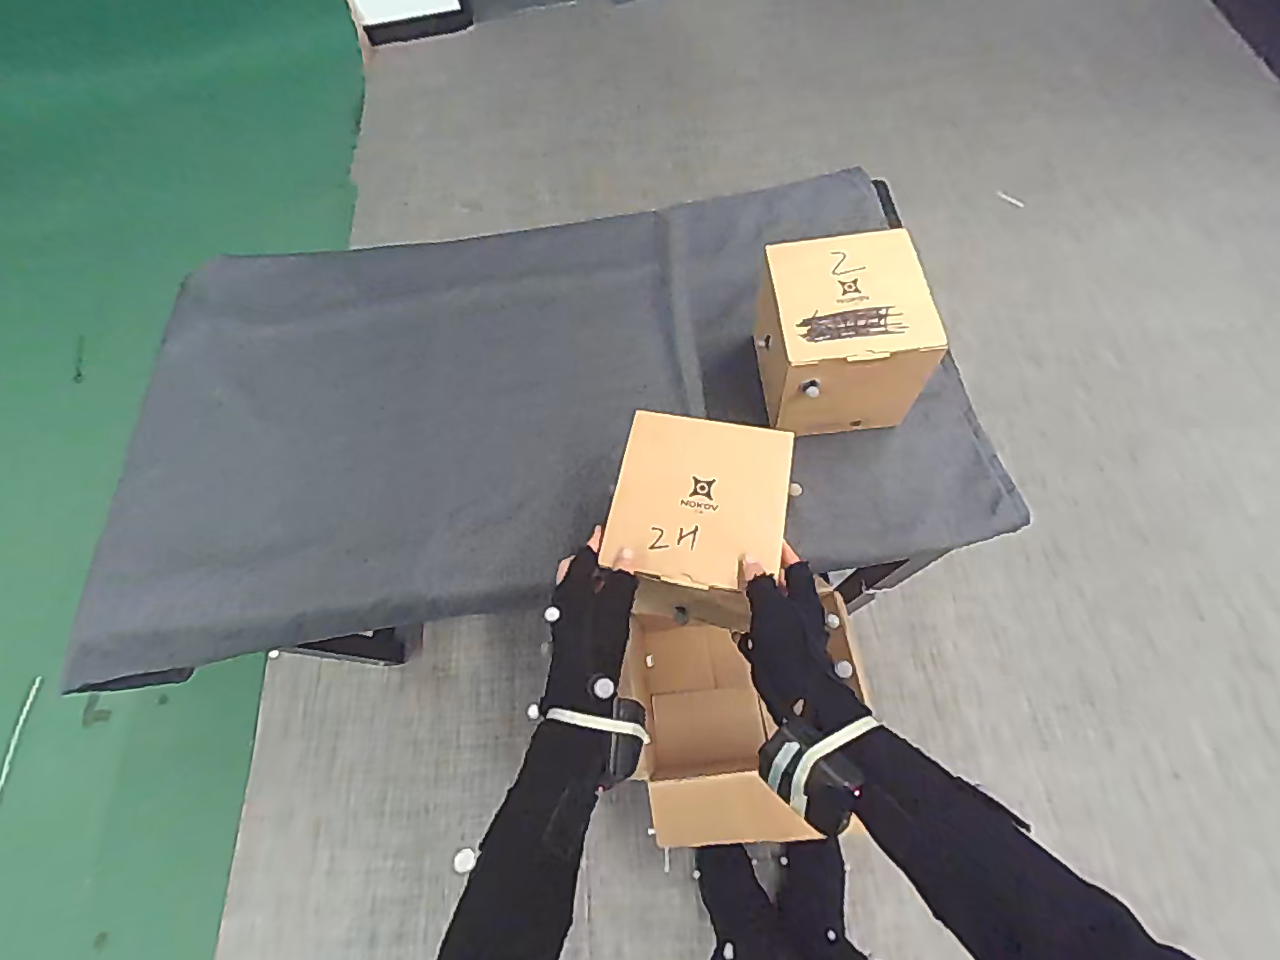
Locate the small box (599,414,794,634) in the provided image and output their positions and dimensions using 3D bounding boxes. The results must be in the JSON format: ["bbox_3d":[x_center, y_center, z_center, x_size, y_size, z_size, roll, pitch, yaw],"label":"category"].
[{"bbox_3d":[0.064,0.054,0.591,0.168,0.176,0.179,9,66,9],"label":"small box"}]
